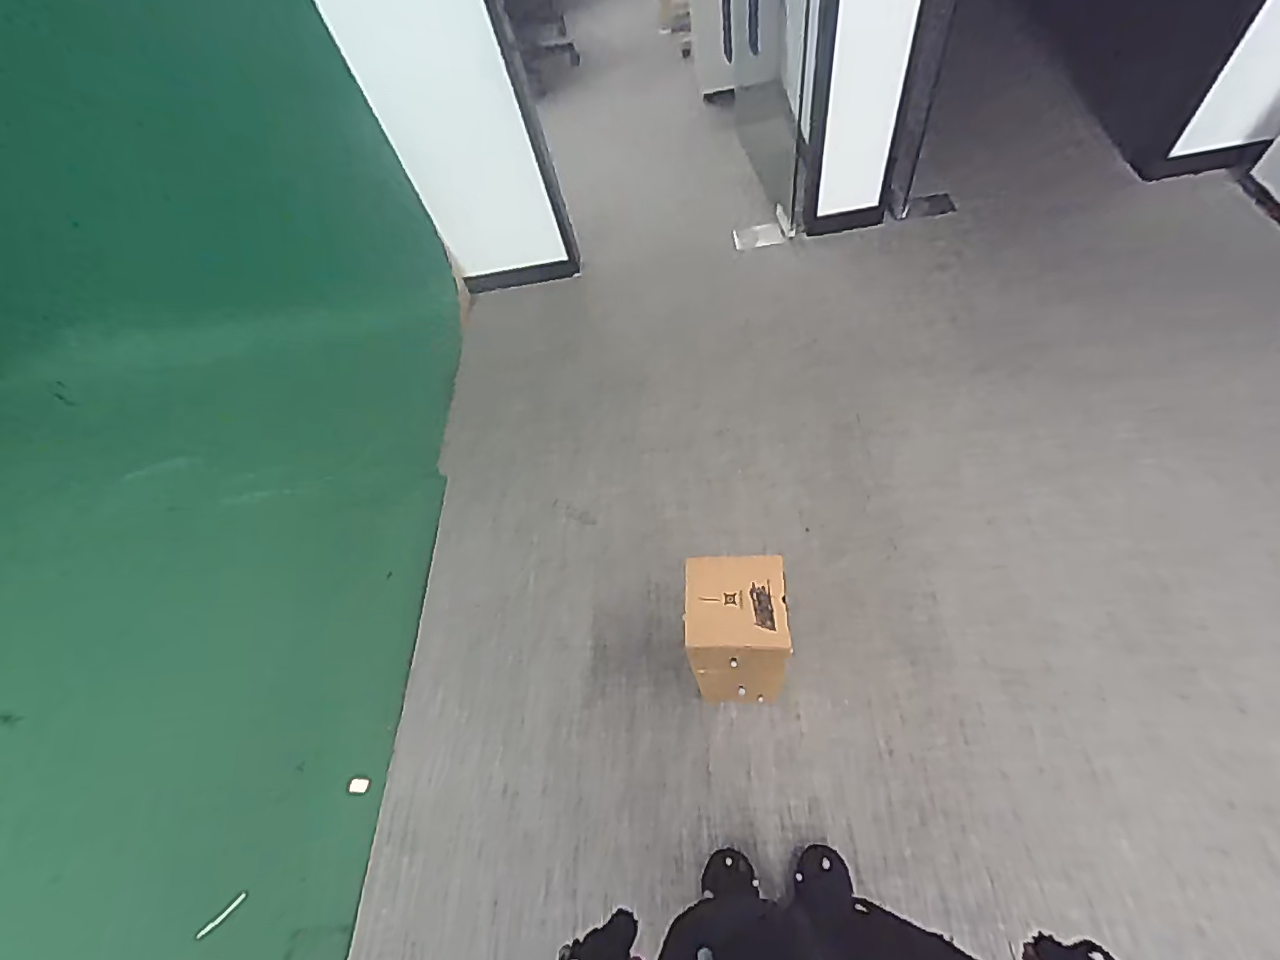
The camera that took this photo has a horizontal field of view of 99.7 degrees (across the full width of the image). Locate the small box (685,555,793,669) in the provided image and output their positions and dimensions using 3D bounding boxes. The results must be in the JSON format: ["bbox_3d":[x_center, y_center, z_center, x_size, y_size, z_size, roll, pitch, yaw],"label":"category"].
[{"bbox_3d":[0.177,0.250,1.007,0.179,0.176,0.168,-4,58,7],"label":"small box"}]

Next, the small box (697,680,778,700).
[{"bbox_3d":[0.227,0.421,1.283,0.179,0.176,0.168,-6,57,10],"label":"small box"}]

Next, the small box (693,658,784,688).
[{"bbox_3d":[0.203,0.338,1.144,0.179,0.176,0.168,-3,58,9],"label":"small box"}]
